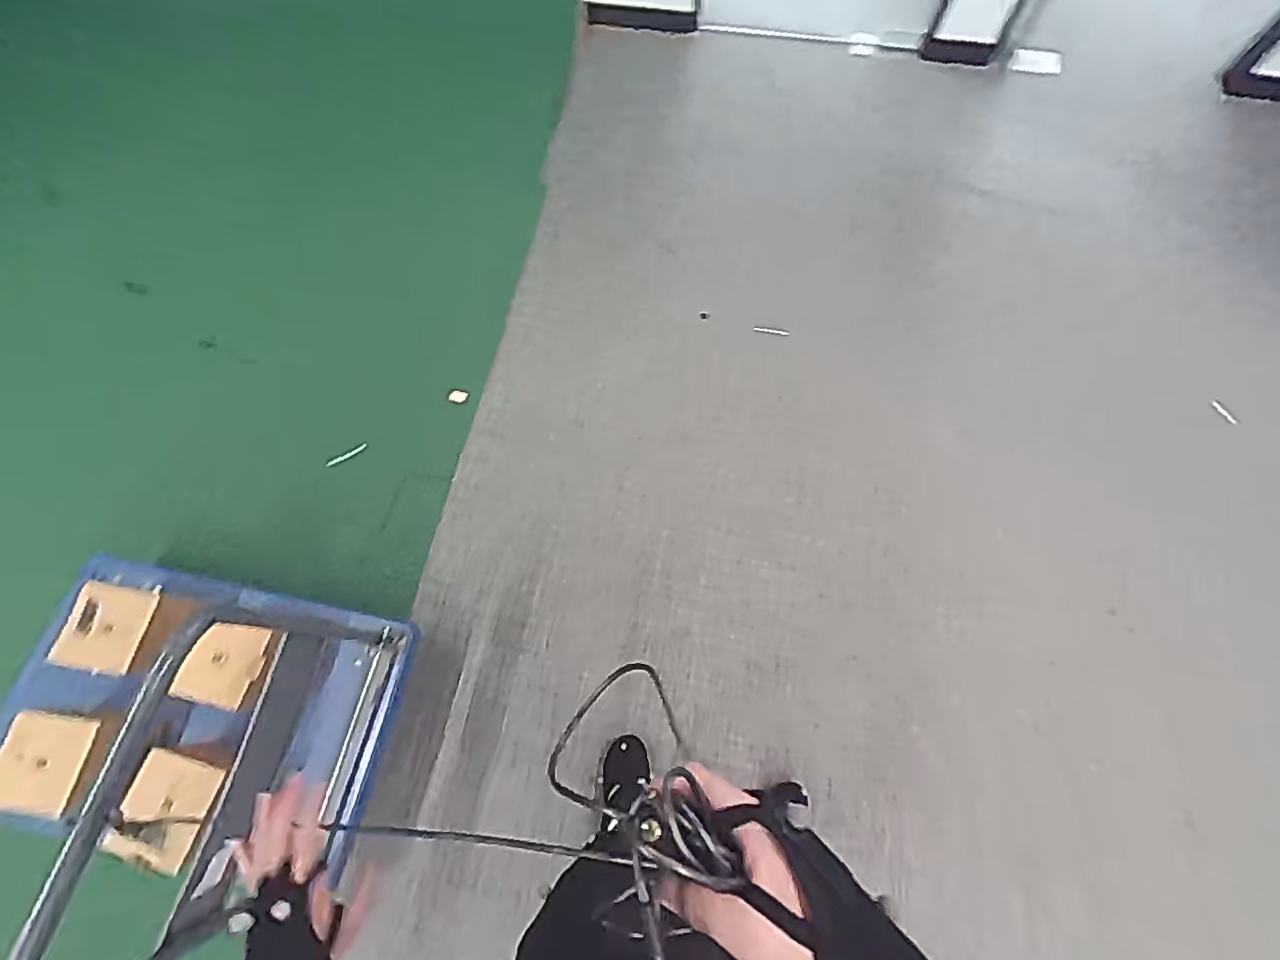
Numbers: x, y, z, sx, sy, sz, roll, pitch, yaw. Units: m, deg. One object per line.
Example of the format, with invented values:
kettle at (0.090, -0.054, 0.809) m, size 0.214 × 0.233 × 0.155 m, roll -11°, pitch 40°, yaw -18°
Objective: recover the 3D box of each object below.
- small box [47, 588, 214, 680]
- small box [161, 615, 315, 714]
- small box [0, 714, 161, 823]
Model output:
small box at (-1.122, 0.348, 1.207) m, size 0.179 × 0.176 × 0.168 m, roll 9°, pitch 70°, yaw 3°
small box at (-0.866, 0.406, 1.186) m, size 0.179 × 0.176 × 0.168 m, roll 12°, pitch 70°, yaw 4°
small box at (-1.164, 0.586, 1.120) m, size 0.179 × 0.176 × 0.168 m, roll 7°, pitch 69°, yaw 3°
